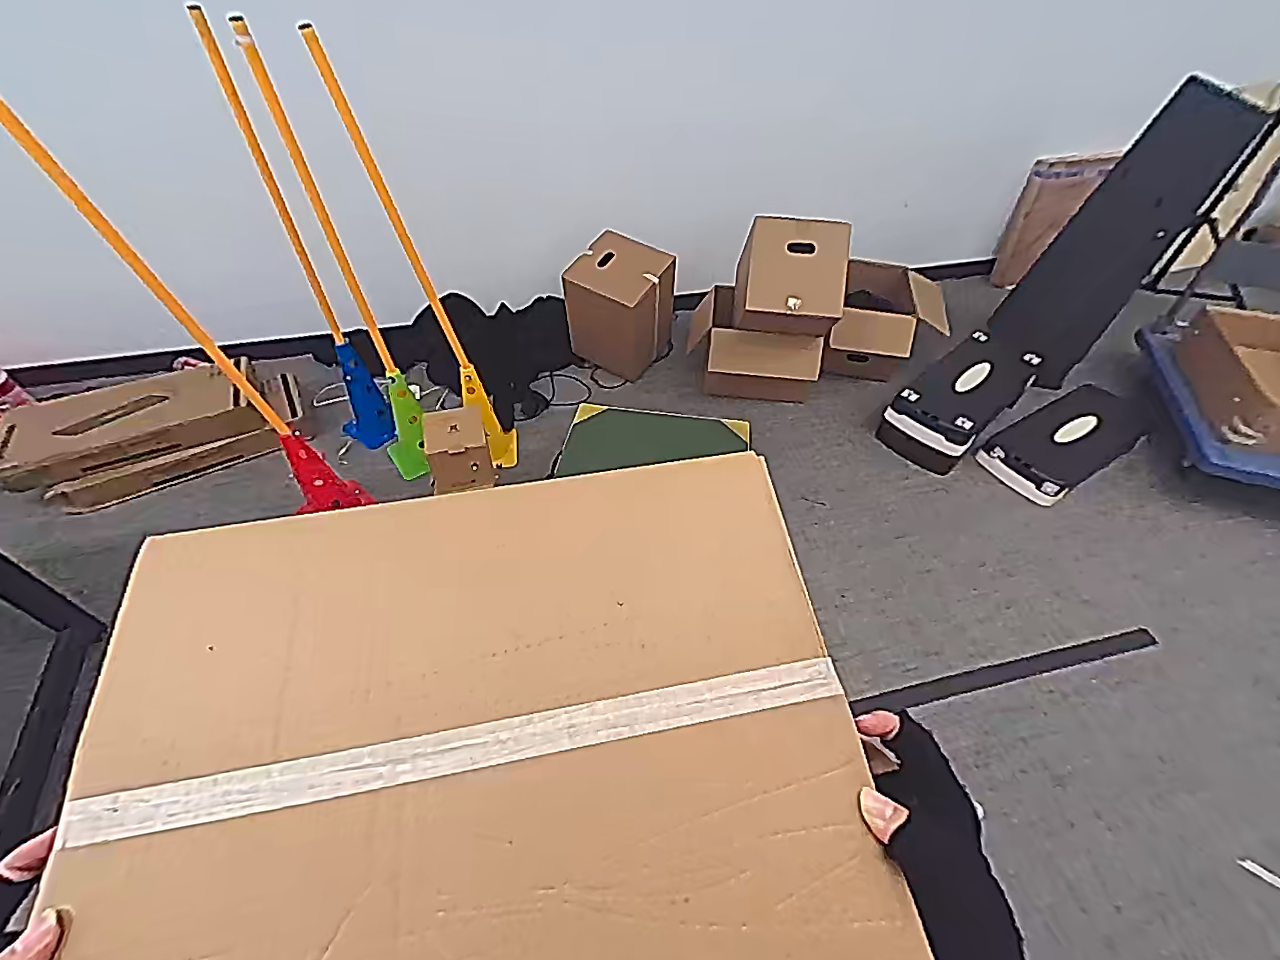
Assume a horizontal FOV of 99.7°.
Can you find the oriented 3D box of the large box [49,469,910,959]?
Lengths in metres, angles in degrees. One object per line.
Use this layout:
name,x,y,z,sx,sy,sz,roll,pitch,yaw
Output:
large box,-0.089,0.223,0.429,0.408,0.320,0.320,-8,60,-6
